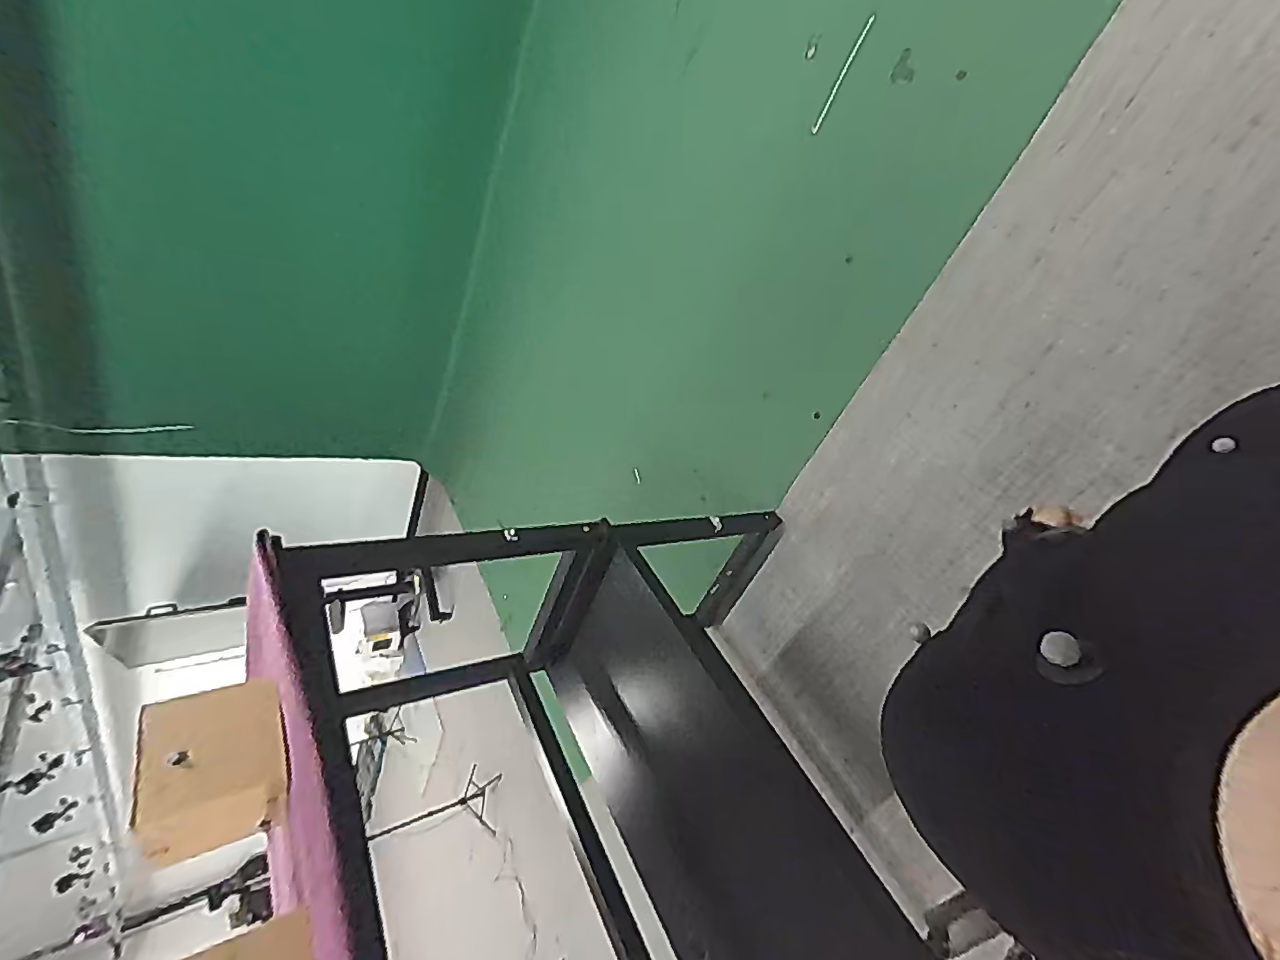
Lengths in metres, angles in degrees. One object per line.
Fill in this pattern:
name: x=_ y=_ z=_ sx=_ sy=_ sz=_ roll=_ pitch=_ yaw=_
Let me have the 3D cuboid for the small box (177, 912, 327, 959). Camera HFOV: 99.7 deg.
small box: x=-0.445 y=0.634 z=0.605 sx=0.179 sy=0.176 sz=0.168 roll=50 pitch=128 yaw=37

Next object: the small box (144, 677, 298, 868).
small box: x=-0.629 y=0.435 z=0.825 sx=0.179 sy=0.176 sz=0.168 roll=53 pitch=132 yaw=36
